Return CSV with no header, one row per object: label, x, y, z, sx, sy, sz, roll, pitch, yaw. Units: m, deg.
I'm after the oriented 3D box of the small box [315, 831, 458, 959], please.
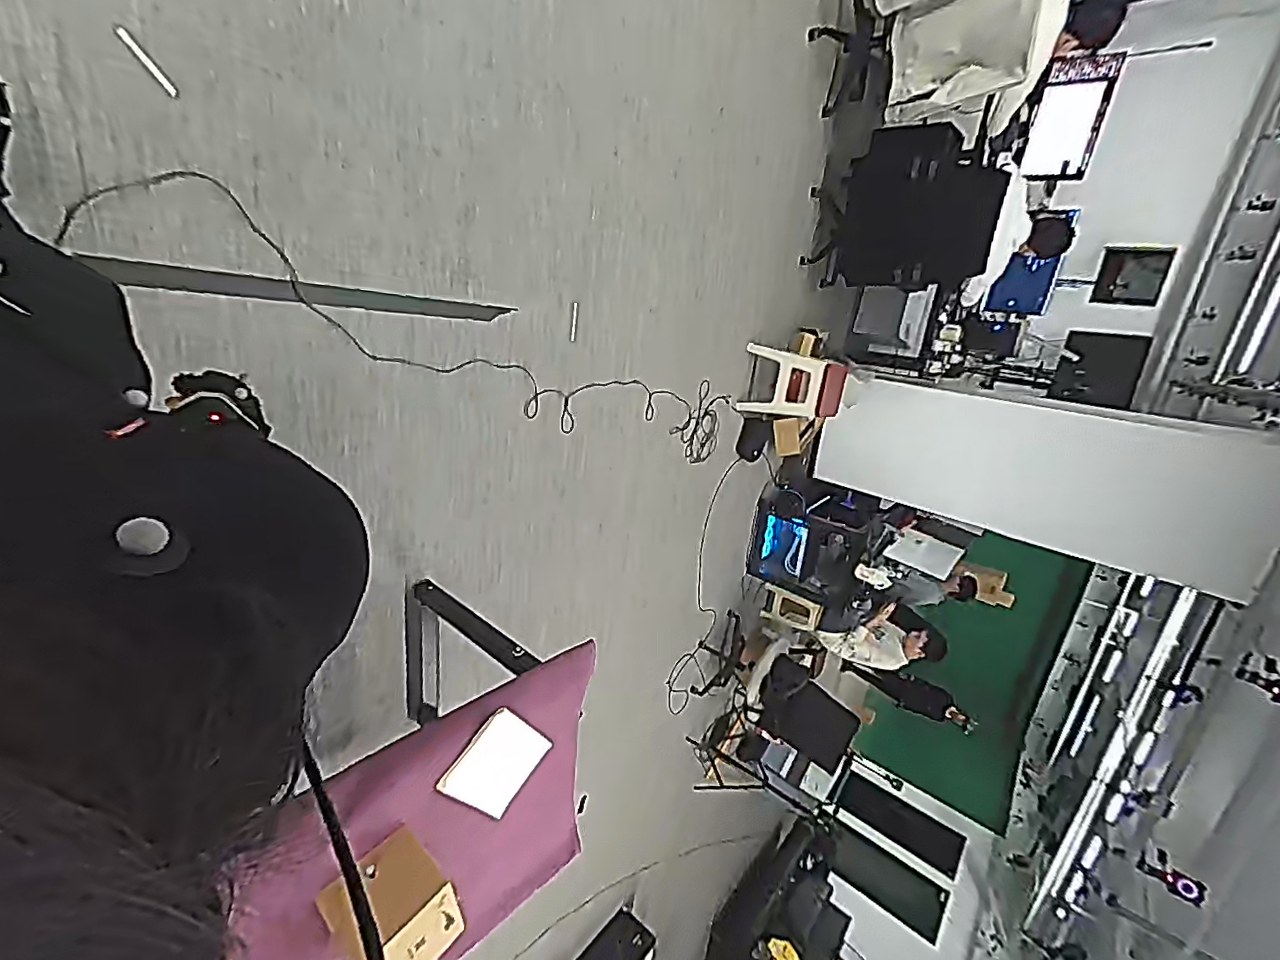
small box,-0.466,0.804,0.989,0.179,0.176,0.168,-27,127,-43
